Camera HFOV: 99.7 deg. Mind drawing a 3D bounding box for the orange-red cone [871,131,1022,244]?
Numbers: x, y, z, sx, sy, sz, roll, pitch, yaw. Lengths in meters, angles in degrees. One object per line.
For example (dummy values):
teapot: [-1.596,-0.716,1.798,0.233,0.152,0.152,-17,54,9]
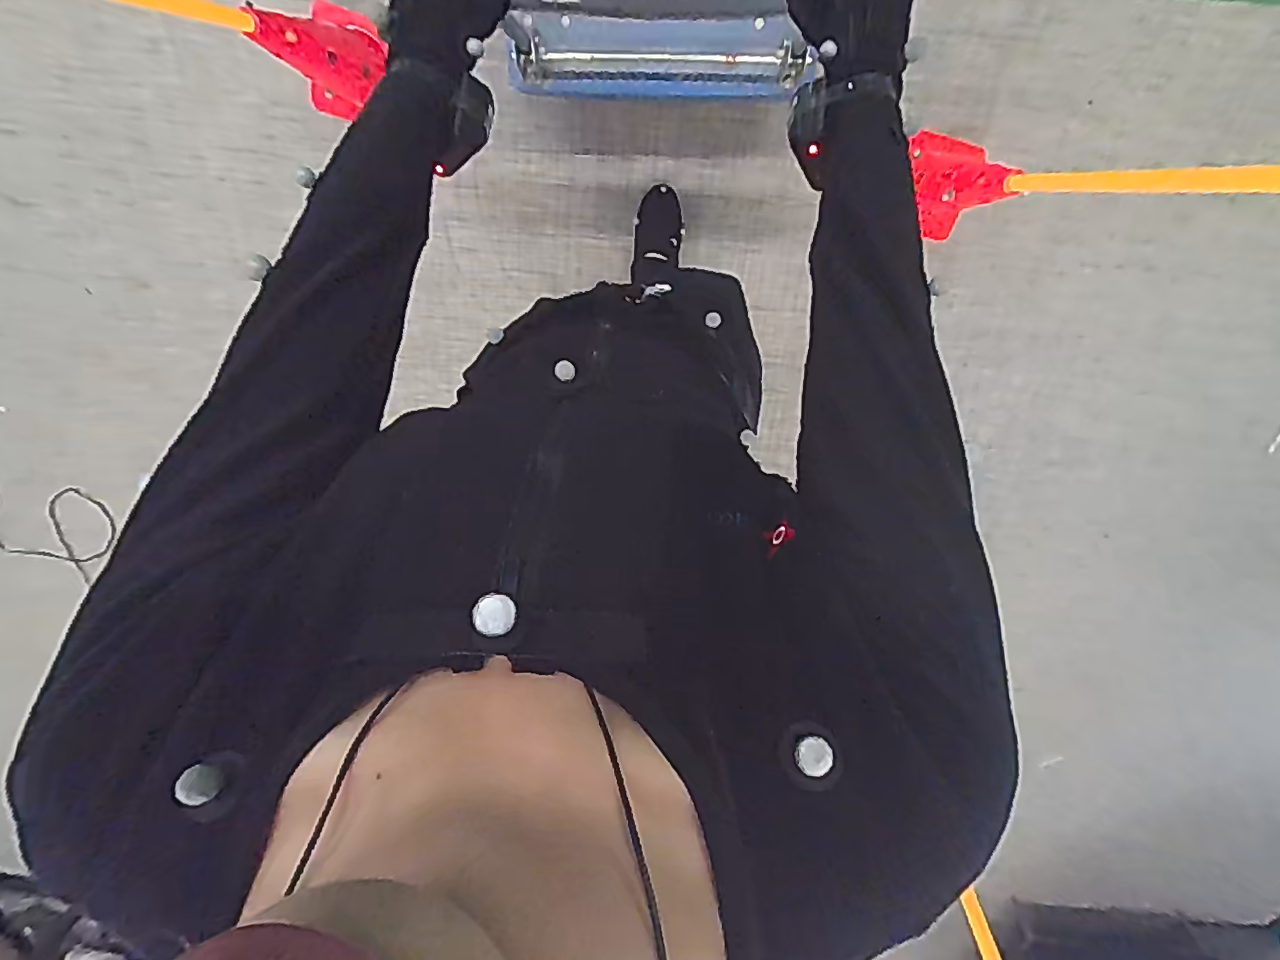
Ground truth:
orange-red cone: [0.646,-0.583,1.082,0.198,0.360,0.199,15,118,-5]
